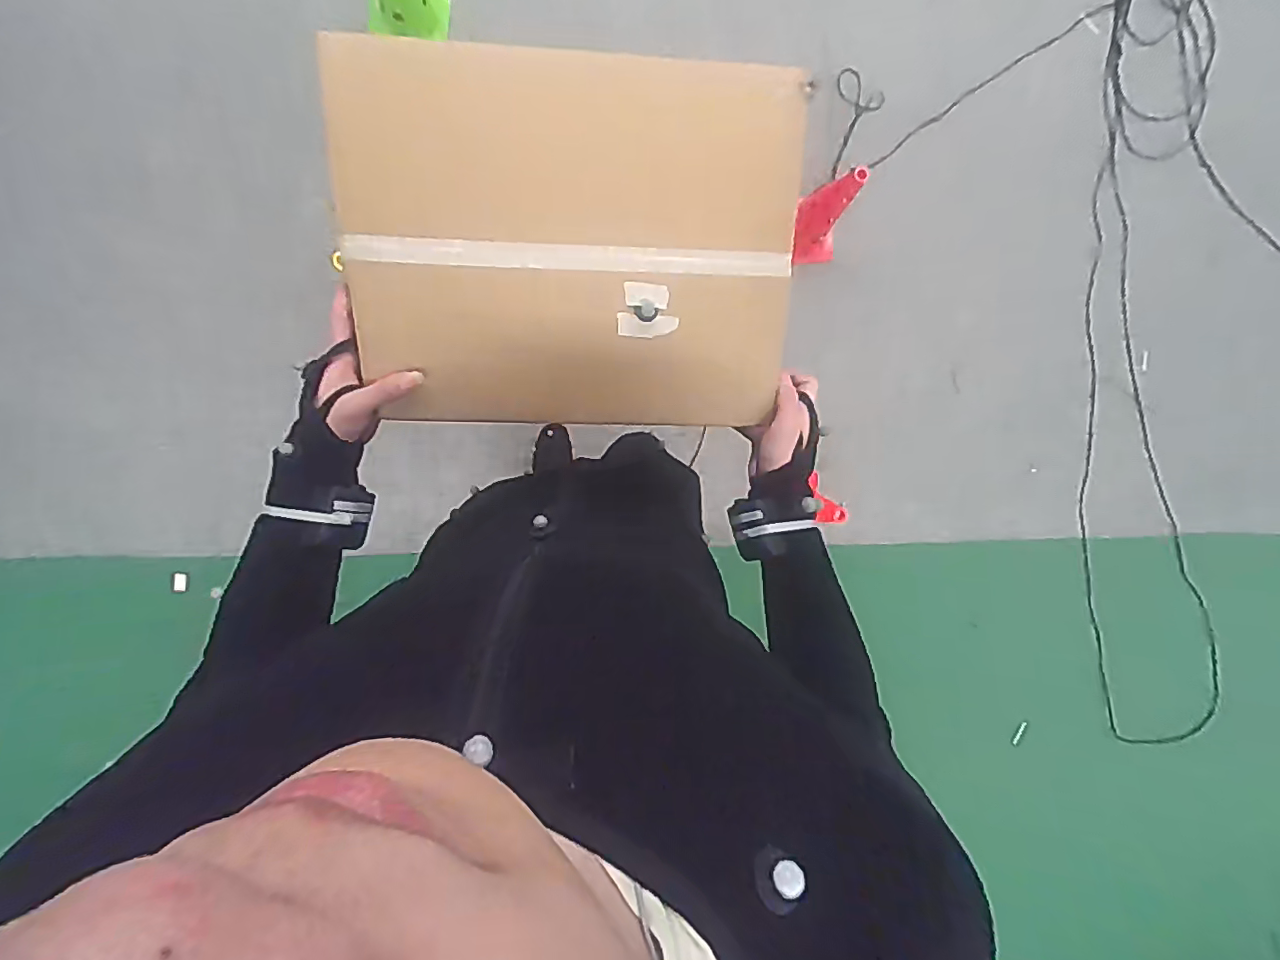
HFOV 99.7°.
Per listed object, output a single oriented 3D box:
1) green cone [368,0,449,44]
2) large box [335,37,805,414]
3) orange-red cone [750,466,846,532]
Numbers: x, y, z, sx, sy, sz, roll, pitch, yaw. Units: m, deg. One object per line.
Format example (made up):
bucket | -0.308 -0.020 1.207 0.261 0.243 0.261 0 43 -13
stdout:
green cone | -0.605 -1.238 1.293 0.200 0.368 0.202 6 95 -8
large box | -0.070 -0.261 0.642 0.408 0.320 0.320 0 110 -6
orange-red cone | 0.480 0.077 1.541 0.199 0.360 0.198 7 94 -10
